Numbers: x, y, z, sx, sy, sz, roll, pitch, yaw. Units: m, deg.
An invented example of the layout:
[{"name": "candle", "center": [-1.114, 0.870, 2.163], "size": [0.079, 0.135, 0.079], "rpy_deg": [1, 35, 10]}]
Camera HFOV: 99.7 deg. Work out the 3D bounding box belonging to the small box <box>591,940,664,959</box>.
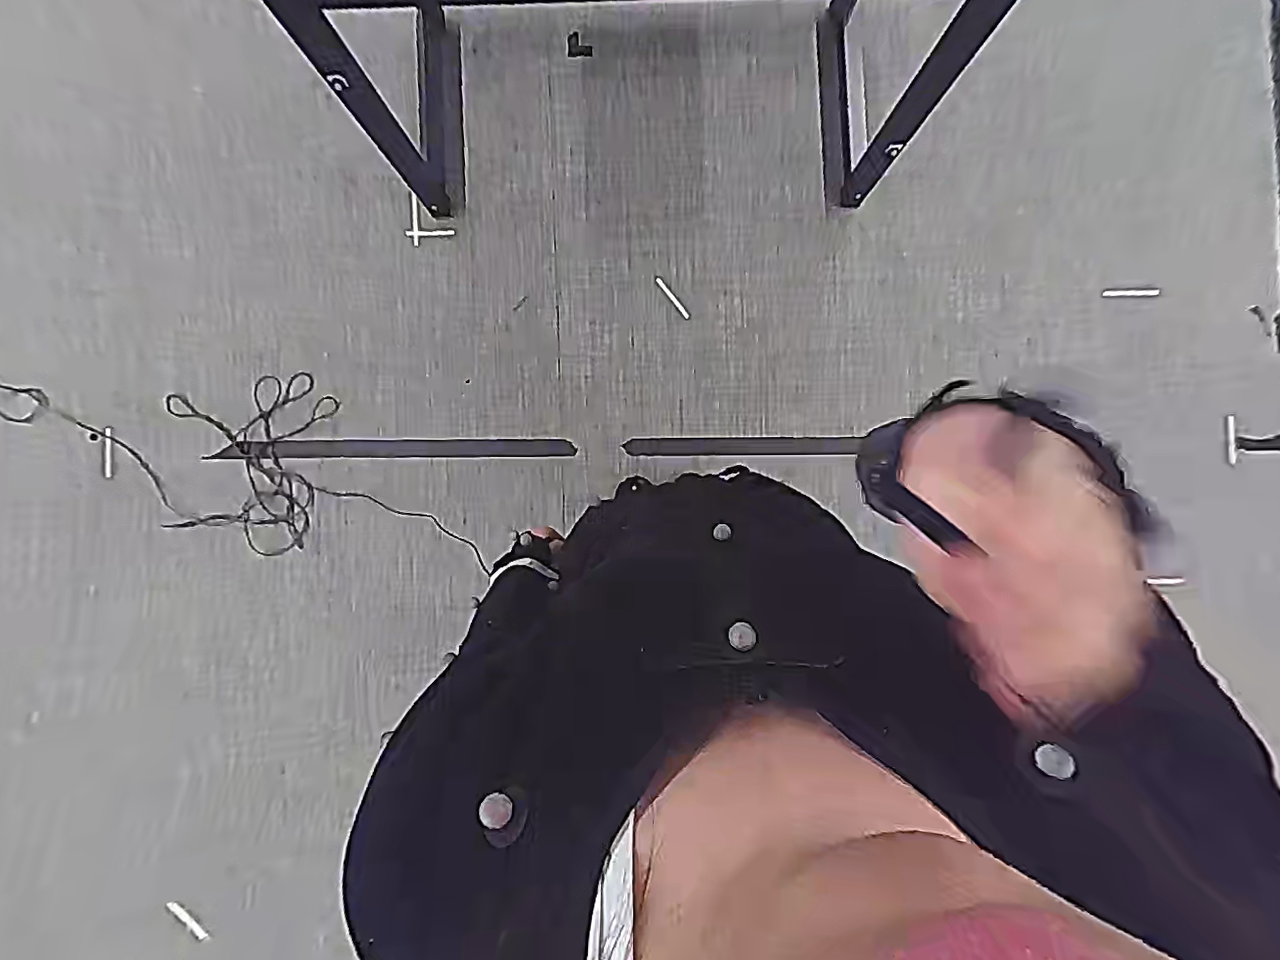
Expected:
[{"name": "small box", "center": [-0.024, 1.208, 1.243], "size": [0.179, 0.176, 0.168], "rpy_deg": [-6, 90, -1]}]
